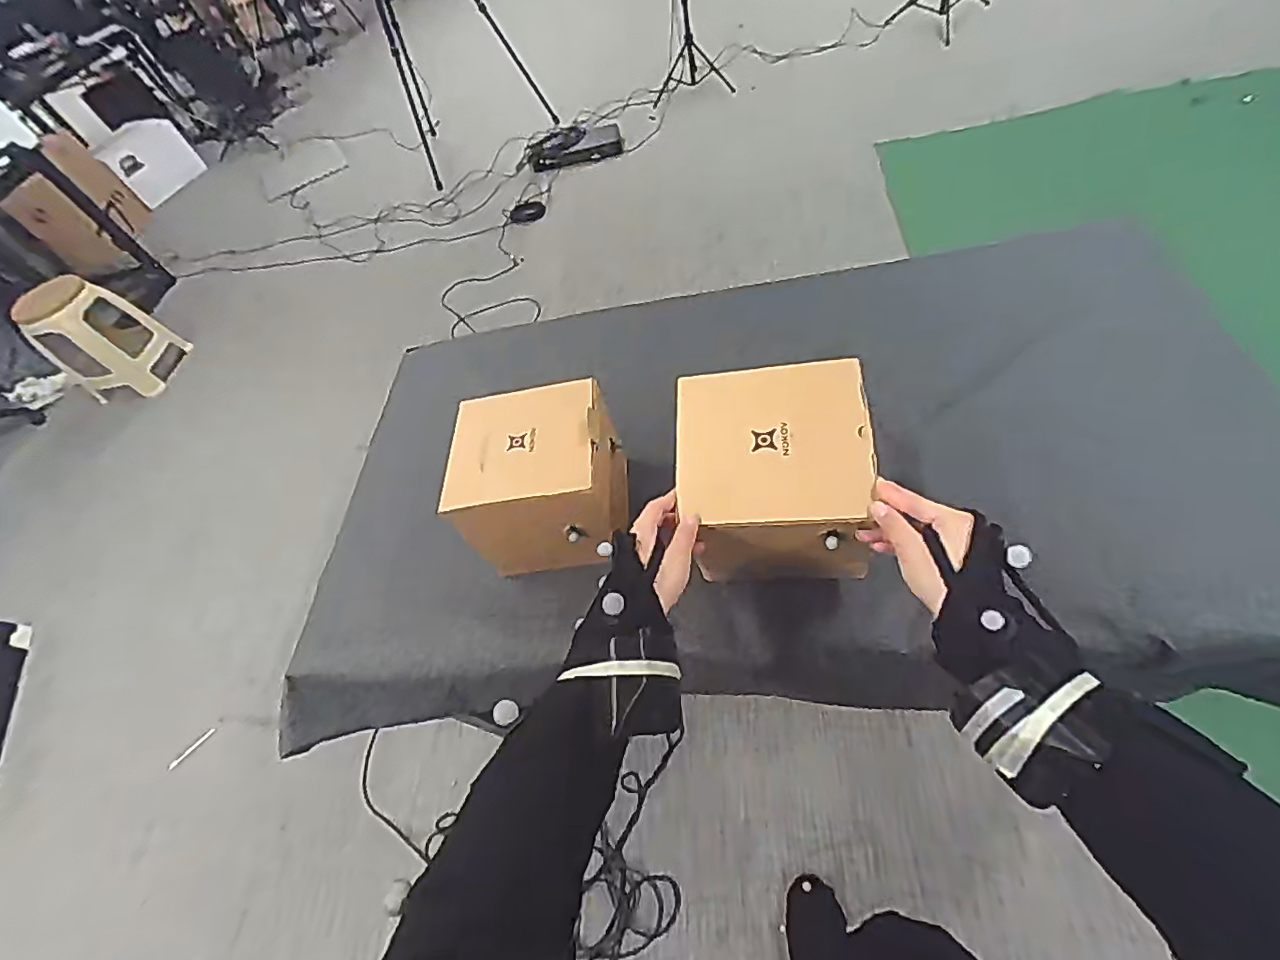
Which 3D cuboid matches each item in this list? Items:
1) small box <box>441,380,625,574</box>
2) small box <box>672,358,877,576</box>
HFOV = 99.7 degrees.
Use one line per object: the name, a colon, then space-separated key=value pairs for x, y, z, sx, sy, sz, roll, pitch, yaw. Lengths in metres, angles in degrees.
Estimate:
small box: x=-0.117 y=0.004 z=0.682 sx=0.179 sy=0.176 sz=0.168 roll=-10 pitch=53 yaw=9
small box: x=0.137 y=-0.002 z=0.569 sx=0.179 sy=0.176 sz=0.168 roll=-4 pitch=62 yaw=14
